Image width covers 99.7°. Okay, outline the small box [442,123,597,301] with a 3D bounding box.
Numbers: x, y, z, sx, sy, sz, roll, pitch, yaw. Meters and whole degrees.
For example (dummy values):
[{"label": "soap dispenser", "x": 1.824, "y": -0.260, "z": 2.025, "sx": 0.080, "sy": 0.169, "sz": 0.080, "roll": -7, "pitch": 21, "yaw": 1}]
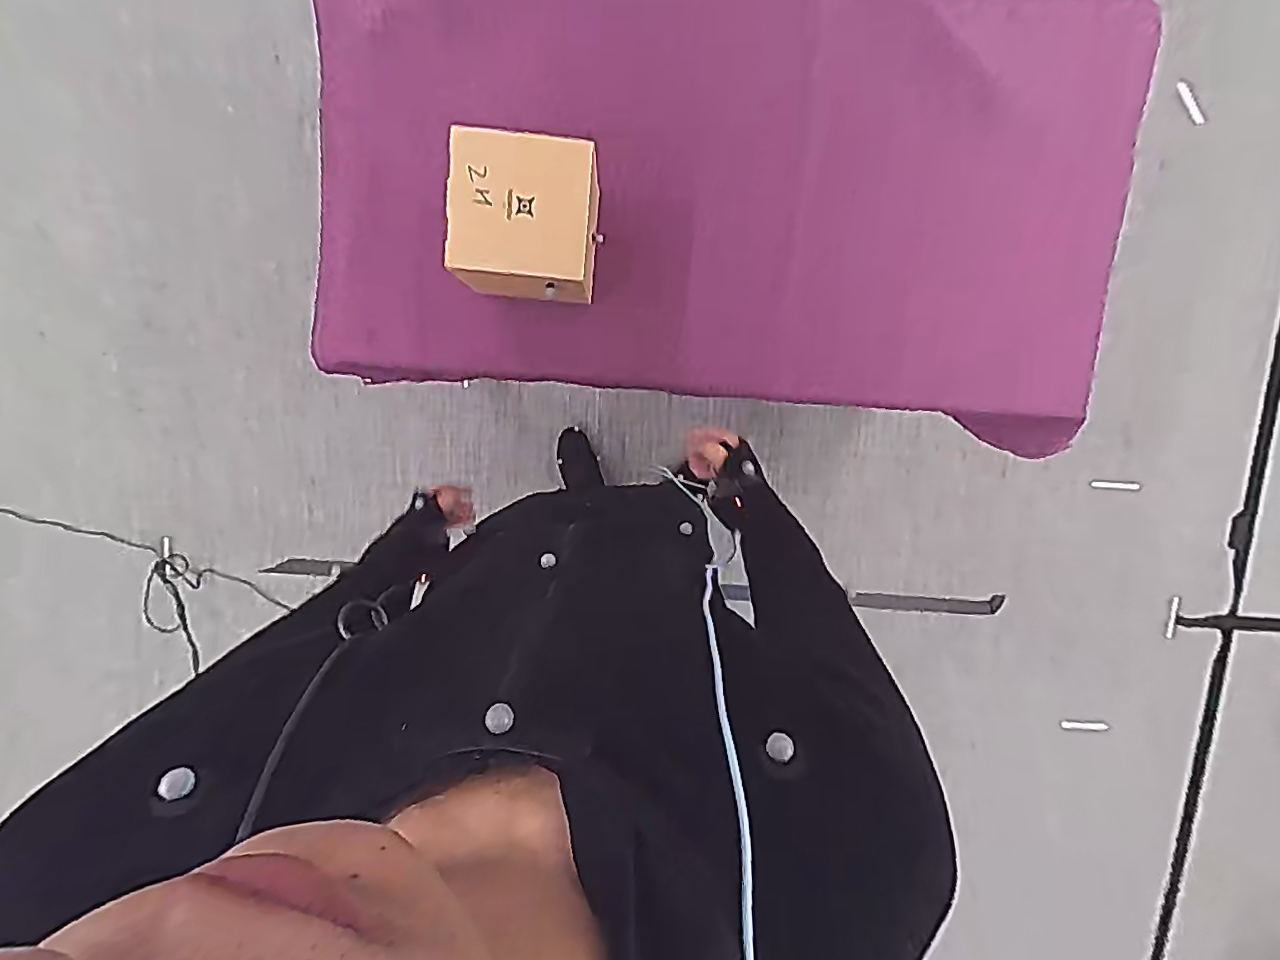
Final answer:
[{"label": "small box", "x": -0.153, "y": -0.348, "z": 0.738, "sx": 0.179, "sy": 0.176, "sz": 0.168, "roll": 5, "pitch": 98, "yaw": -3}]
